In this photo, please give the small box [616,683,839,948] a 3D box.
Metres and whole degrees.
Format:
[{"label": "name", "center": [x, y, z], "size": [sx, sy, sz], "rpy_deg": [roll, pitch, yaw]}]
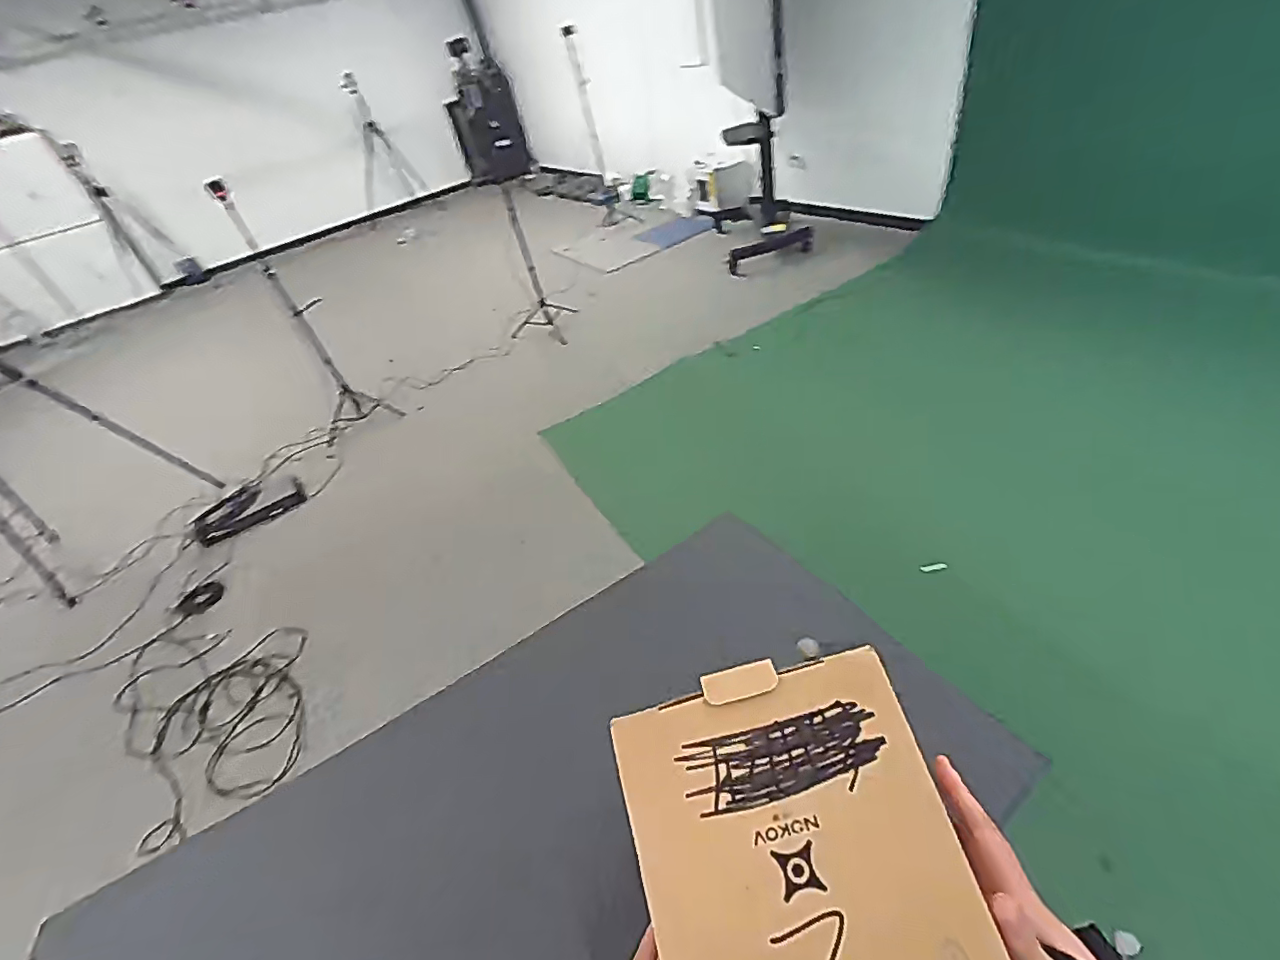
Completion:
[{"label": "small box", "center": [0.101, 0.377, 0.608], "size": [0.168, 0.176, 0.179], "rpy_deg": [-30, 41, -17]}]
